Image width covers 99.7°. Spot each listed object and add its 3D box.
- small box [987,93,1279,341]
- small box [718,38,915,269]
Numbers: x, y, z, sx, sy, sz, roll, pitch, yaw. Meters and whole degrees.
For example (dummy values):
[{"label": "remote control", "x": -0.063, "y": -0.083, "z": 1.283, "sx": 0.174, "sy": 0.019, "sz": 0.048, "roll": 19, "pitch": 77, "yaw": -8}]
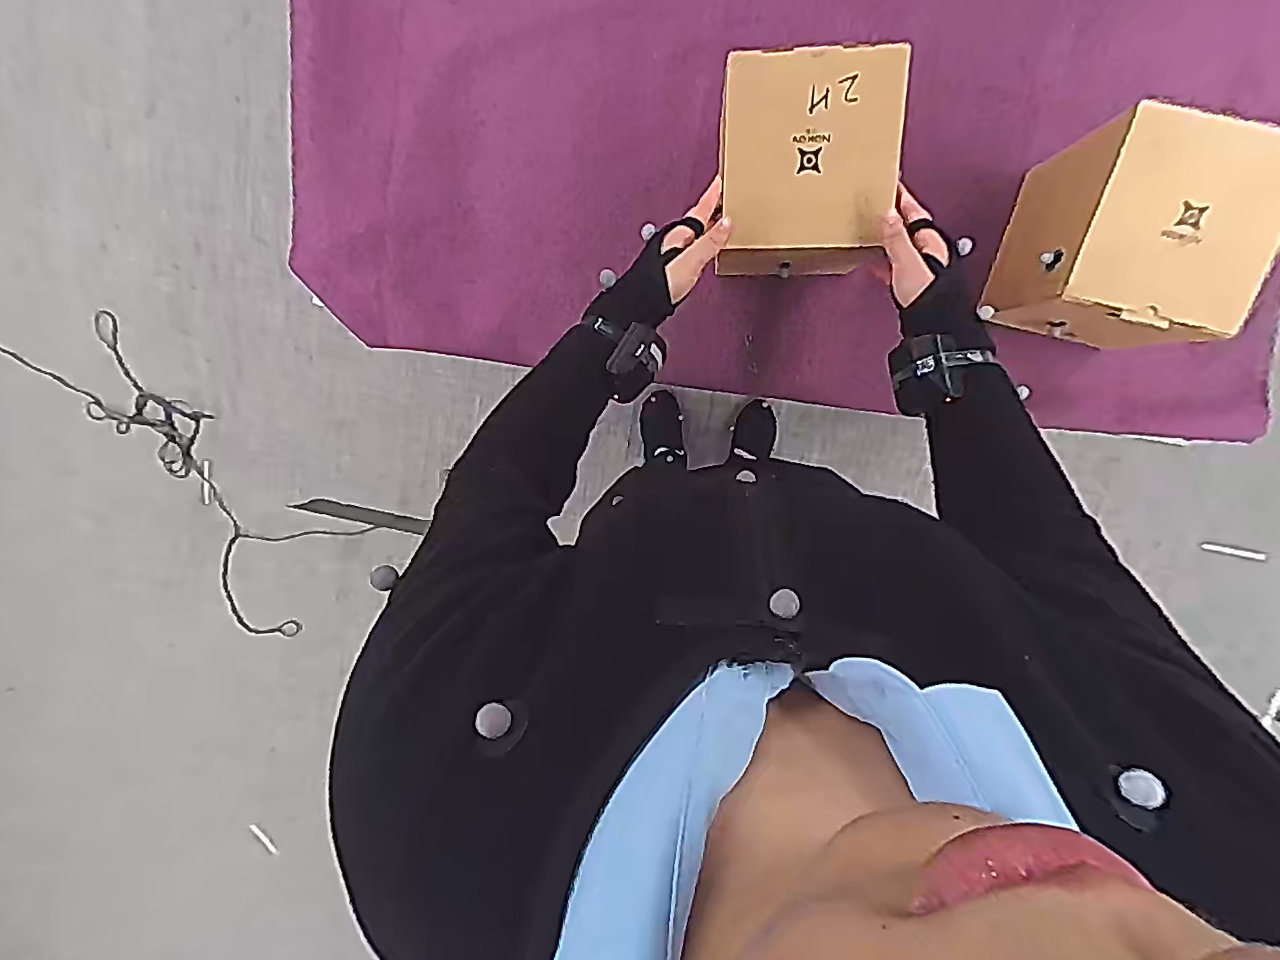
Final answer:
[{"label": "small box", "x": 0.509, "y": -0.255, "z": 0.568, "sx": 0.168, "sy": 0.176, "sz": 0.179, "roll": 15, "pitch": 102, "yaw": 3}, {"label": "small box", "x": 0.173, "y": -0.331, "z": 0.588, "sx": 0.168, "sy": 0.176, "sz": 0.179, "roll": 2, "pitch": 102, "yaw": 5}]
